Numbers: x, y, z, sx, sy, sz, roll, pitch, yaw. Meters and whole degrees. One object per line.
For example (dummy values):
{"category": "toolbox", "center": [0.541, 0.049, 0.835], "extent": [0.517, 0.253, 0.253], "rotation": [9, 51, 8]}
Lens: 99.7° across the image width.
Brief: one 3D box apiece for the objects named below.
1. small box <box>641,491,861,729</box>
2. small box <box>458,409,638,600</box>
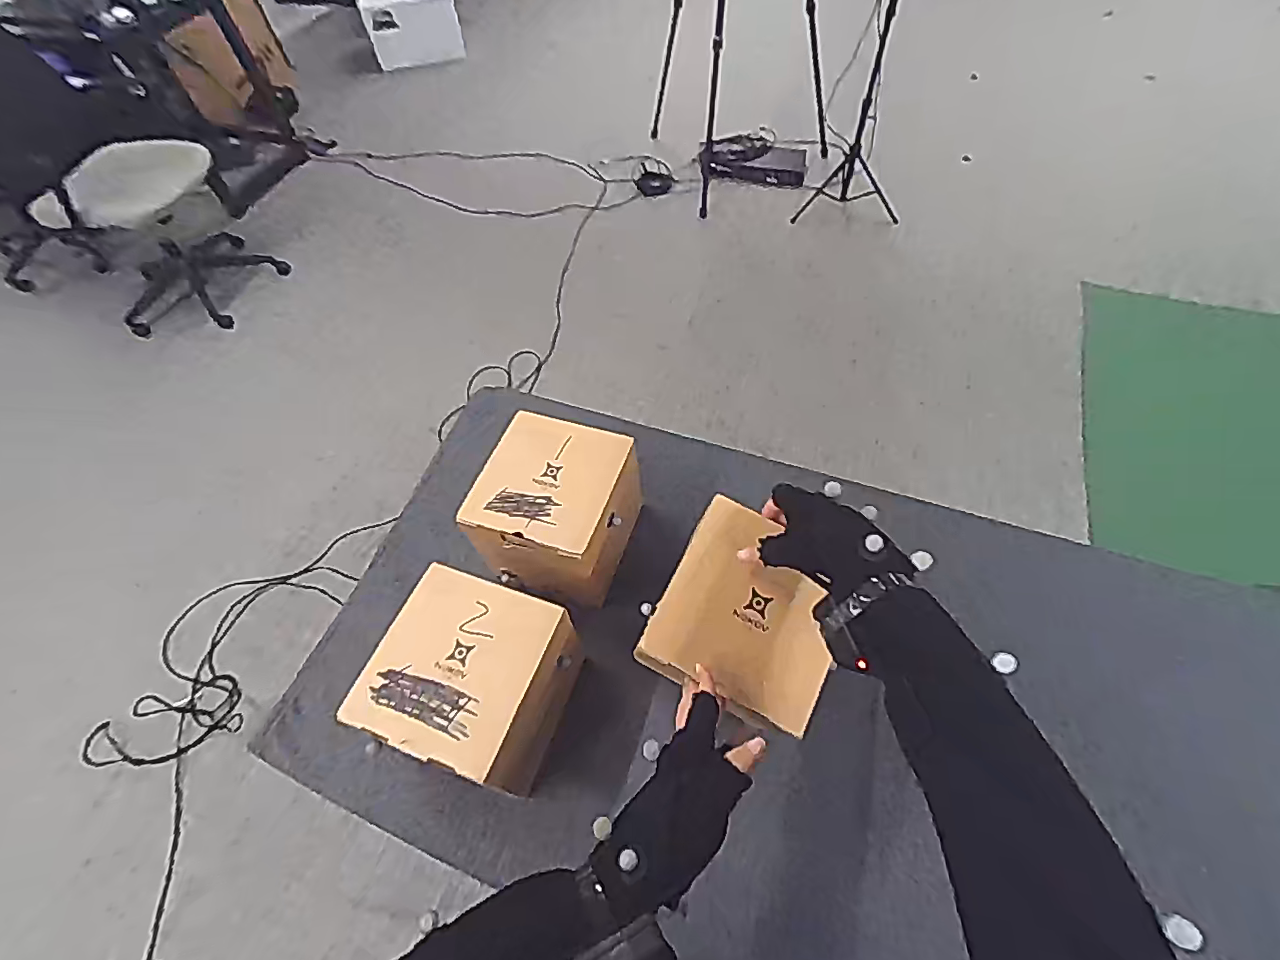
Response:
{"category": "small box", "center": [0.107, 0.143, 0.596], "extent": [0.168, 0.176, 0.179], "rotation": [27, 72, 7]}
{"category": "small box", "center": [-0.106, 0.038, 0.724], "extent": [0.168, 0.176, 0.179], "rotation": [15, 59, 13]}
